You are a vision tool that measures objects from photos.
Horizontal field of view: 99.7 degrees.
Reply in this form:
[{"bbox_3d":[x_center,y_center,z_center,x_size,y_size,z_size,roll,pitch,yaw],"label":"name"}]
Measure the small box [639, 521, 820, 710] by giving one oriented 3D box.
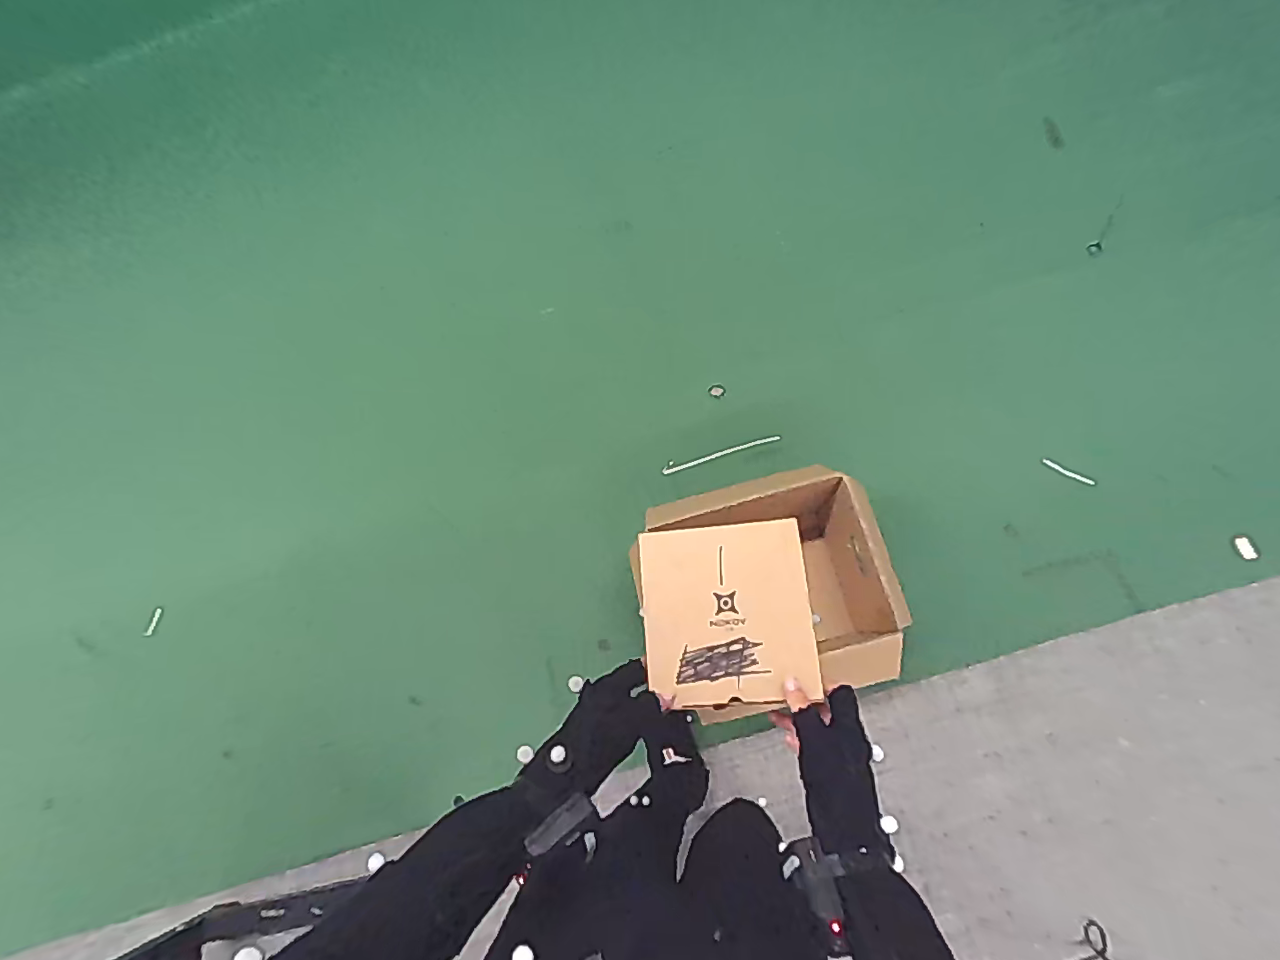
[{"bbox_3d":[0.097,0.153,0.611,0.168,0.176,0.179,-6,73,7],"label":"small box"}]
